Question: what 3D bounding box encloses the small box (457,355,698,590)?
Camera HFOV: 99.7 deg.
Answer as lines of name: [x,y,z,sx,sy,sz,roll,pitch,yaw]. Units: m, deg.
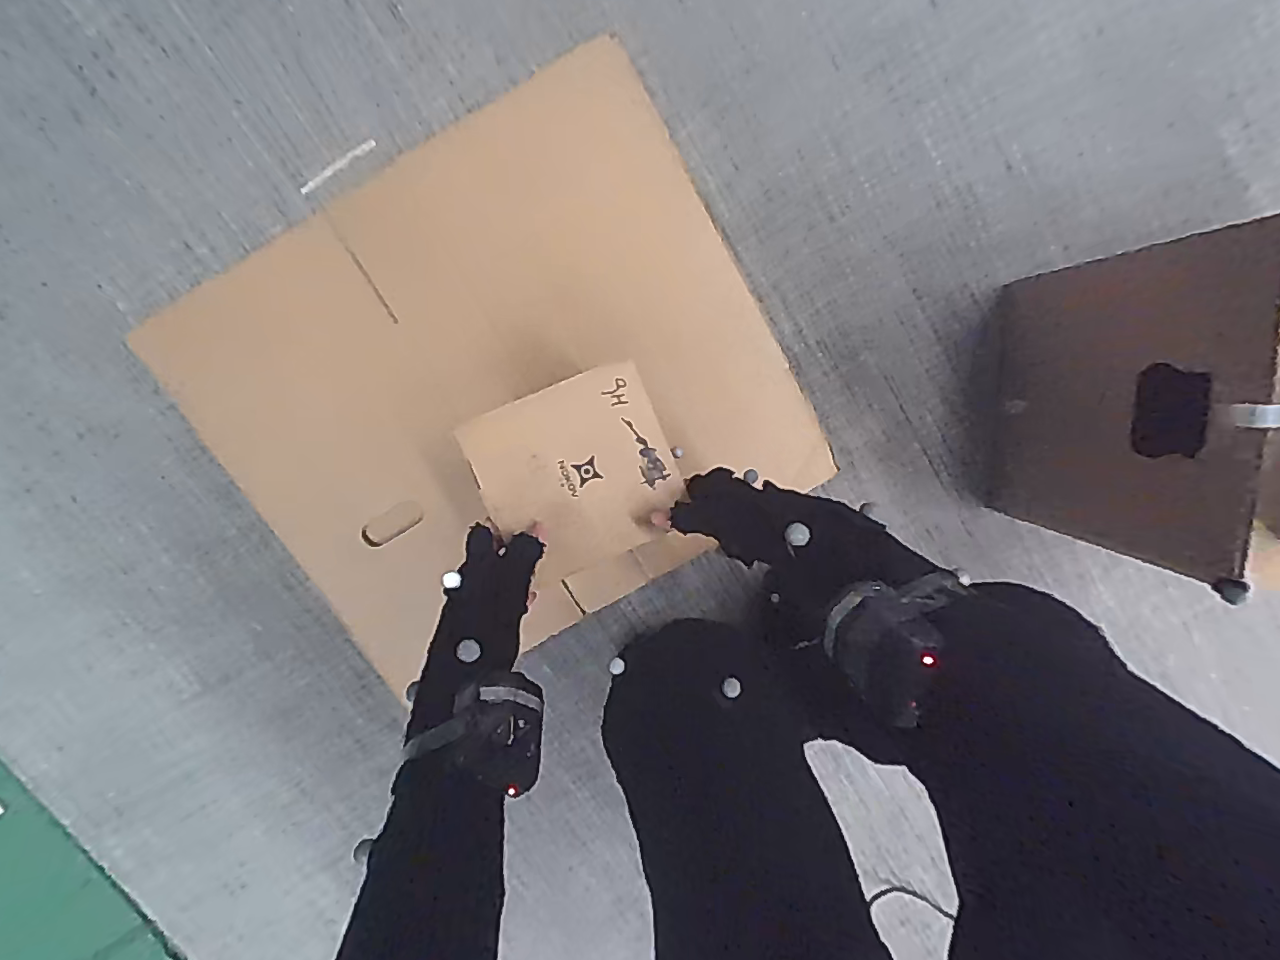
small box: [-0.061,-0.005,0.574,0.179,0.176,0.168,-26,91,-5]
